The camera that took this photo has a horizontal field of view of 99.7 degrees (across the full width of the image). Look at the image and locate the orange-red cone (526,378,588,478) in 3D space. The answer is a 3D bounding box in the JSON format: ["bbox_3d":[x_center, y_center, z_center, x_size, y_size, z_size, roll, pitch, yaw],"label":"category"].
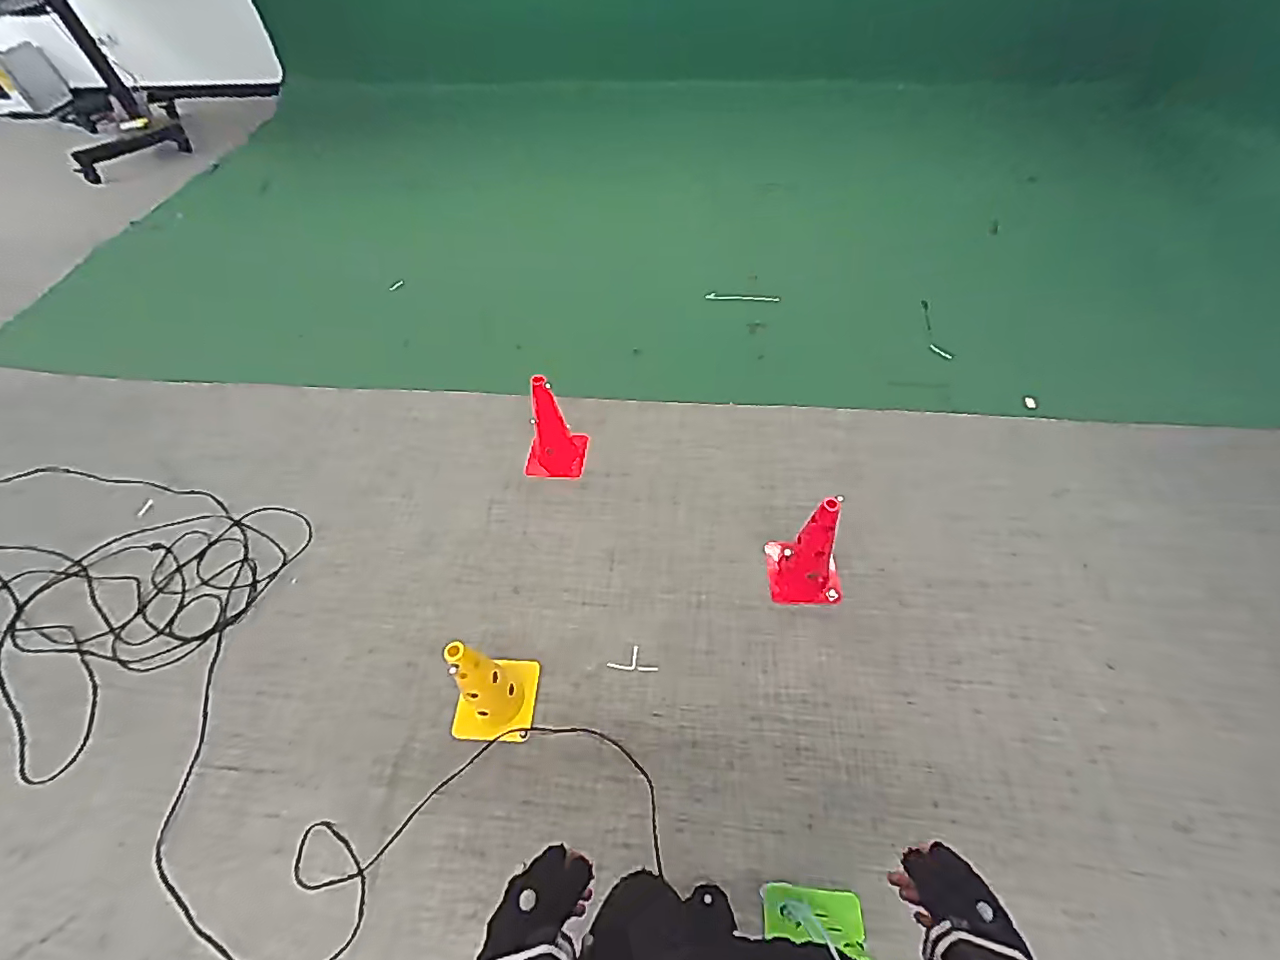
[{"bbox_3d":[-0.300,-0.187,1.752,0.198,0.360,0.199,3,54,7],"label":"orange-red cone"}]

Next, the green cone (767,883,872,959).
[{"bbox_3d":[0.349,0.836,0.949,0.202,0.368,0.200,1,53,6],"label":"green cone"}]

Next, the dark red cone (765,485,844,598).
[{"bbox_3d":[0.462,0.147,1.427,0.202,0.394,0.201,-2,52,2],"label":"dark red cone"}]
